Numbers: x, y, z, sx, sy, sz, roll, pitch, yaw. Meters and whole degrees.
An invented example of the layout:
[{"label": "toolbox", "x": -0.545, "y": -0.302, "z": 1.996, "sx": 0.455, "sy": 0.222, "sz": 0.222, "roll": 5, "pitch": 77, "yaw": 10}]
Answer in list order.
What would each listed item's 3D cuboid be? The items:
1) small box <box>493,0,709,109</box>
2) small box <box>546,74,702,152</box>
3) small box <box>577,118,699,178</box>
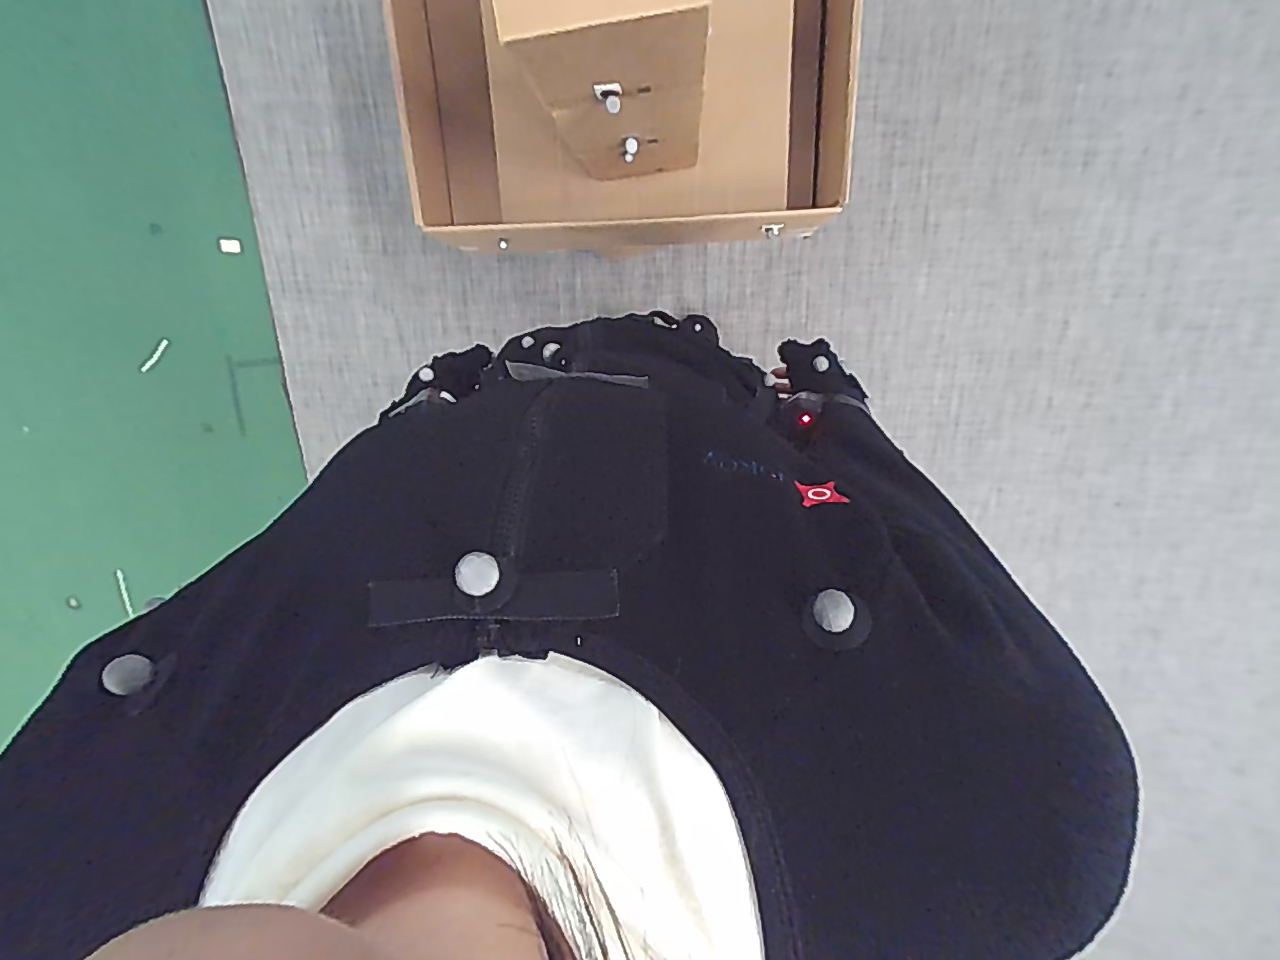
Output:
[{"label": "small box", "x": -0.032, "y": -0.454, "z": 0.461, "sx": 0.168, "sy": 0.176, "sz": 0.179, "roll": -5, "pitch": 108, "yaw": 7}, {"label": "small box", "x": -0.020, "y": -0.503, "z": 0.614, "sx": 0.168, "sy": 0.176, "sz": 0.179, "roll": -5, "pitch": 107, "yaw": 6}, {"label": "small box", "x": -0.007, "y": -0.556, "z": 0.769, "sx": 0.168, "sy": 0.176, "sz": 0.179, "roll": -5, "pitch": 106, "yaw": 7}]
